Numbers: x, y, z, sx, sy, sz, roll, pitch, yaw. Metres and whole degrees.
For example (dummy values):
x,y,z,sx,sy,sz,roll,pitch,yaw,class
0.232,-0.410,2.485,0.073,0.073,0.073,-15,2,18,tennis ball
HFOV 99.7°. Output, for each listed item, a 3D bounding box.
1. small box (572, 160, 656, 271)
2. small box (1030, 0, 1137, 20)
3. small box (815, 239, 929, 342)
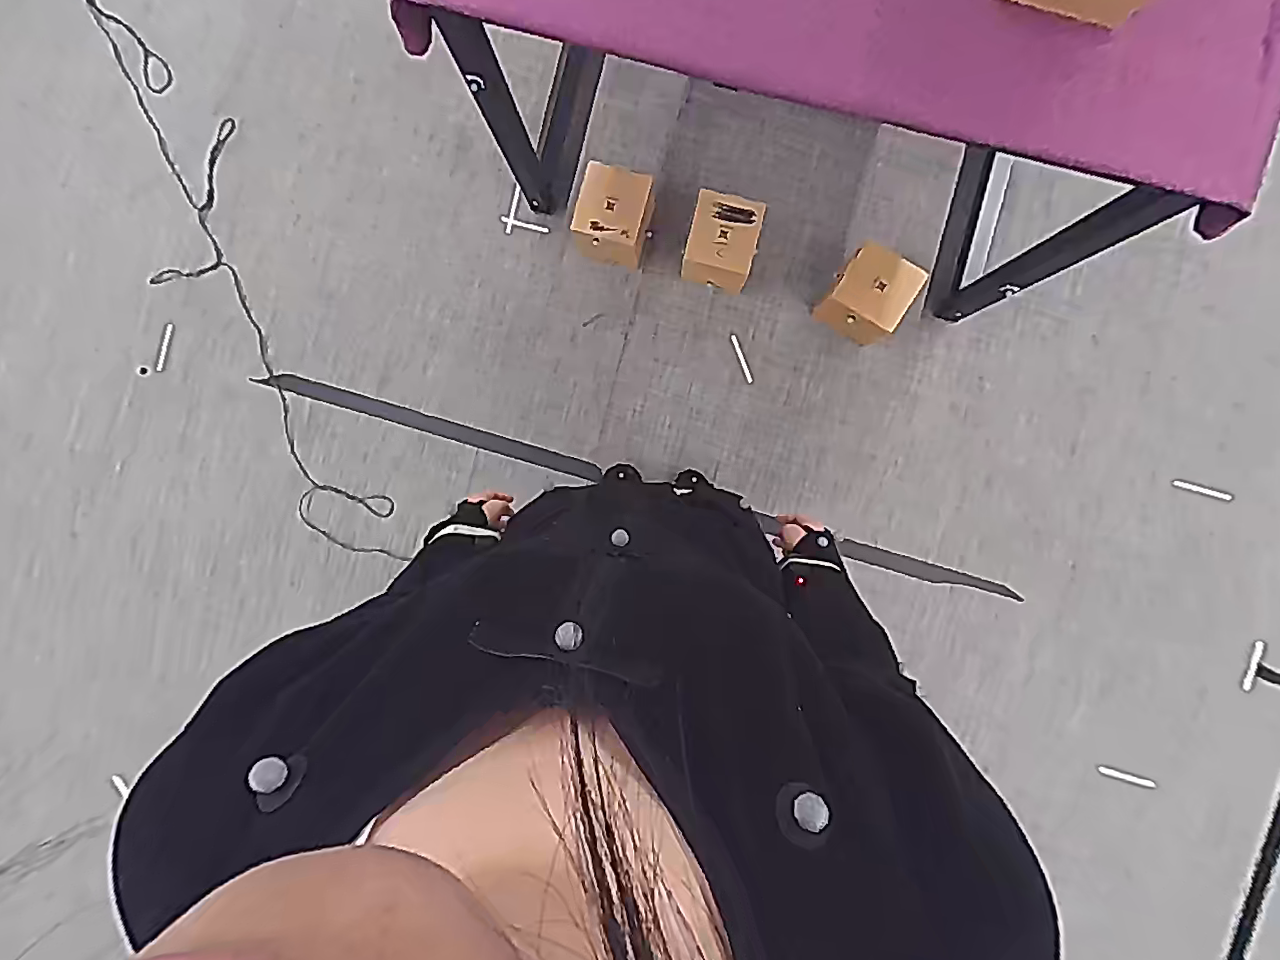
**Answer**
x,y,z,sx,sy,sz,roll,pitch,yaw,class
-0.063,-0.672,1.391,0.168,0.176,0.179,17,91,2,small box
0.572,-0.698,0.634,0.179,0.176,0.168,17,92,2,small box
0.579,-0.469,1.374,0.179,0.176,0.168,33,94,2,small box
